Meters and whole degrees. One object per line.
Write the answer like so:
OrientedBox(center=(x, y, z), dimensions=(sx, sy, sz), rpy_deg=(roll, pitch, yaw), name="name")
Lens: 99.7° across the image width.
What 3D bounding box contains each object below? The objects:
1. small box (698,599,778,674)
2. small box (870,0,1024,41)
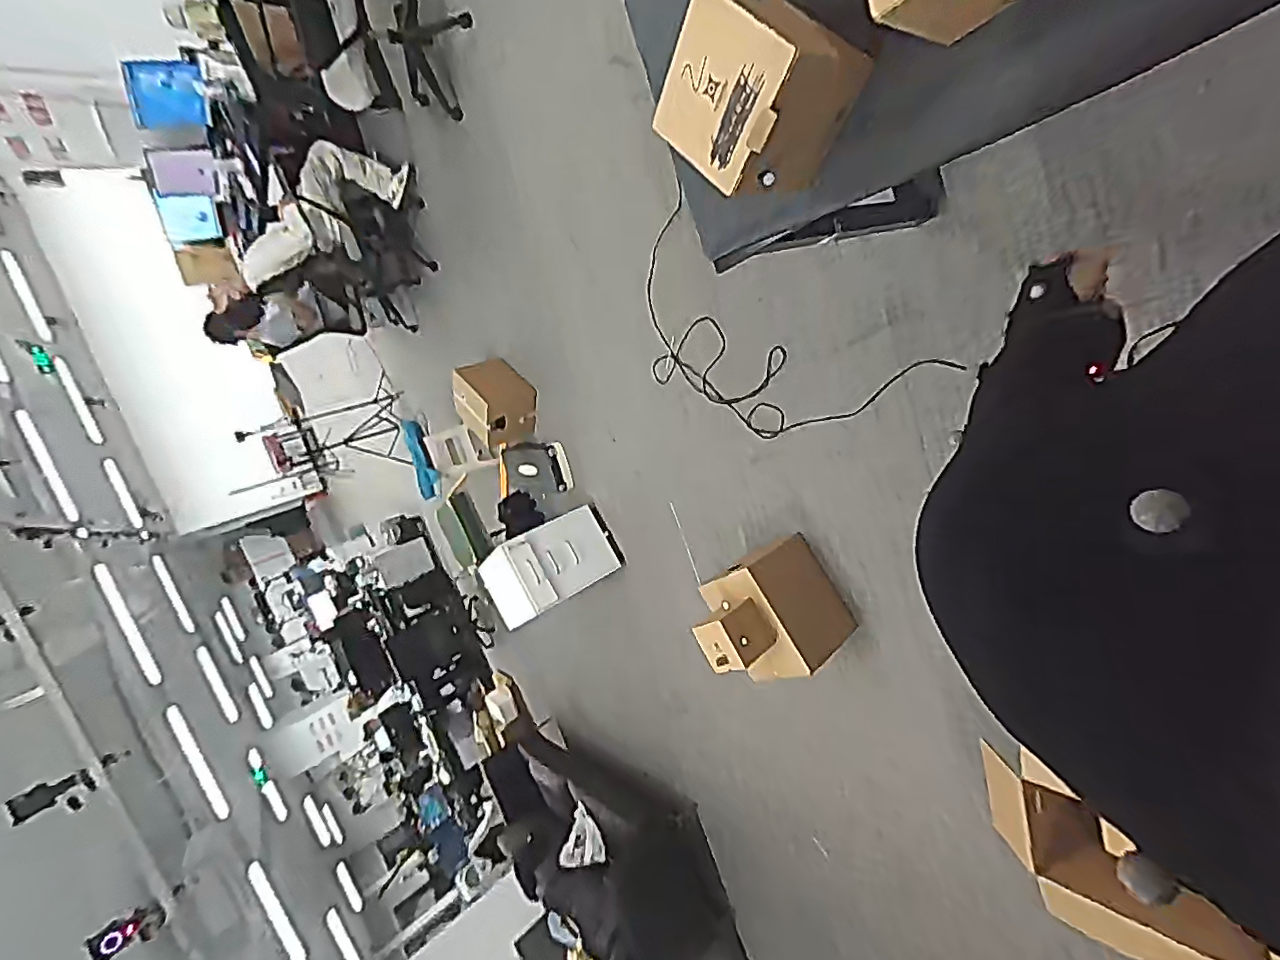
OrientedBox(center=(0.337, 0.532, 1.839), dimensions=(0.179, 0.176, 0.168), rpy_deg=(61, 143, 7), name="small box")
OrientedBox(center=(0.311, -0.544, 0.484), dimensions=(0.168, 0.176, 0.179), rpy_deg=(-3, 107, 54), name="small box")
